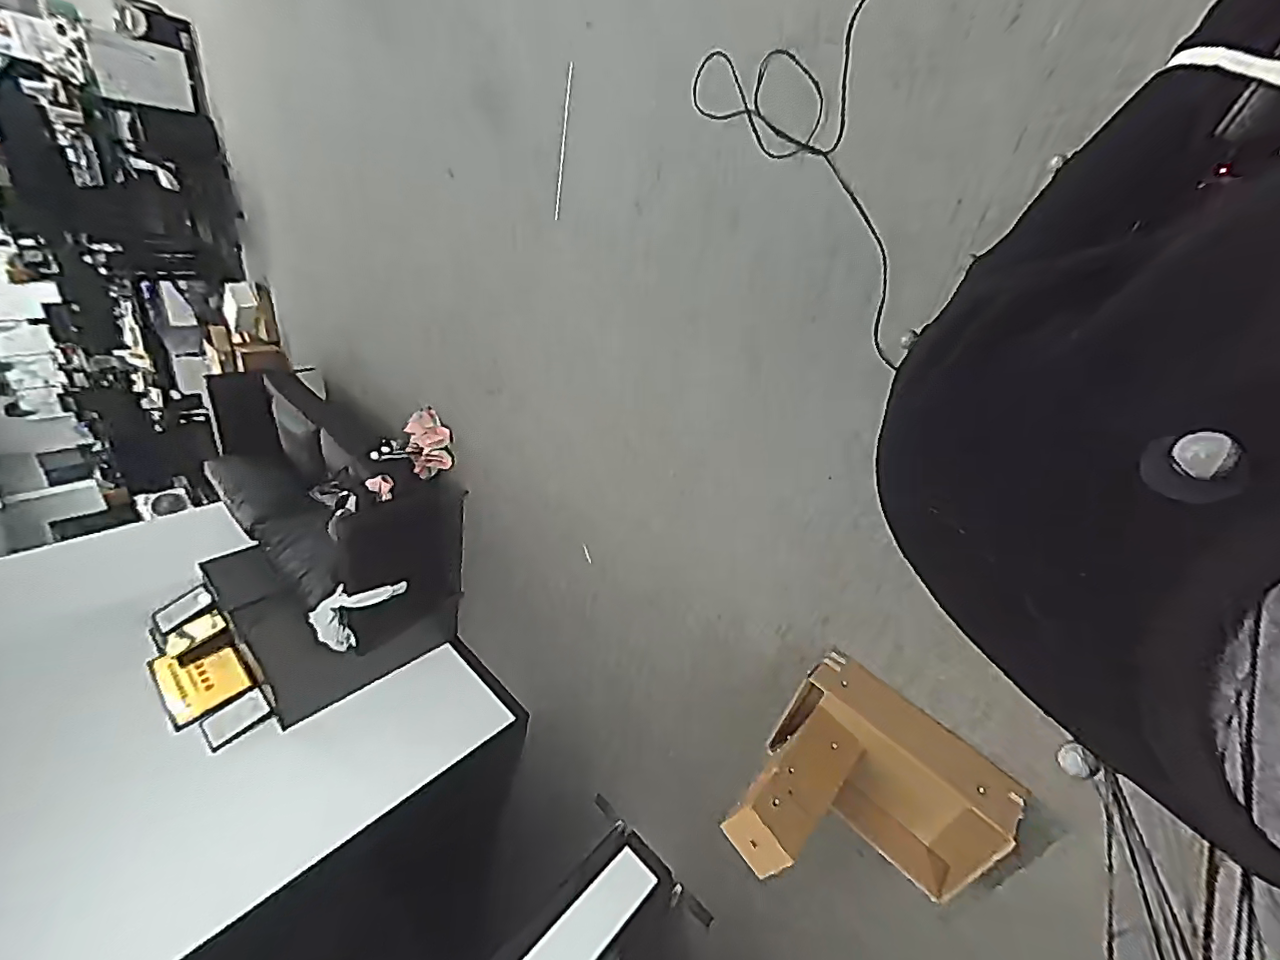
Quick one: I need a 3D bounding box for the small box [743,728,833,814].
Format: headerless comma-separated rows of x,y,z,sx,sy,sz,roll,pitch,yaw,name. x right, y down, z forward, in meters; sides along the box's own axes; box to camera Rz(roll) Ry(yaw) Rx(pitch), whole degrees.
0.457,0.907,1.656,0.179,0.176,0.168,44,130,22,small box

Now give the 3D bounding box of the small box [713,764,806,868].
0.348,0.951,1.543,0.168,0.176,0.179,47,132,21,small box
